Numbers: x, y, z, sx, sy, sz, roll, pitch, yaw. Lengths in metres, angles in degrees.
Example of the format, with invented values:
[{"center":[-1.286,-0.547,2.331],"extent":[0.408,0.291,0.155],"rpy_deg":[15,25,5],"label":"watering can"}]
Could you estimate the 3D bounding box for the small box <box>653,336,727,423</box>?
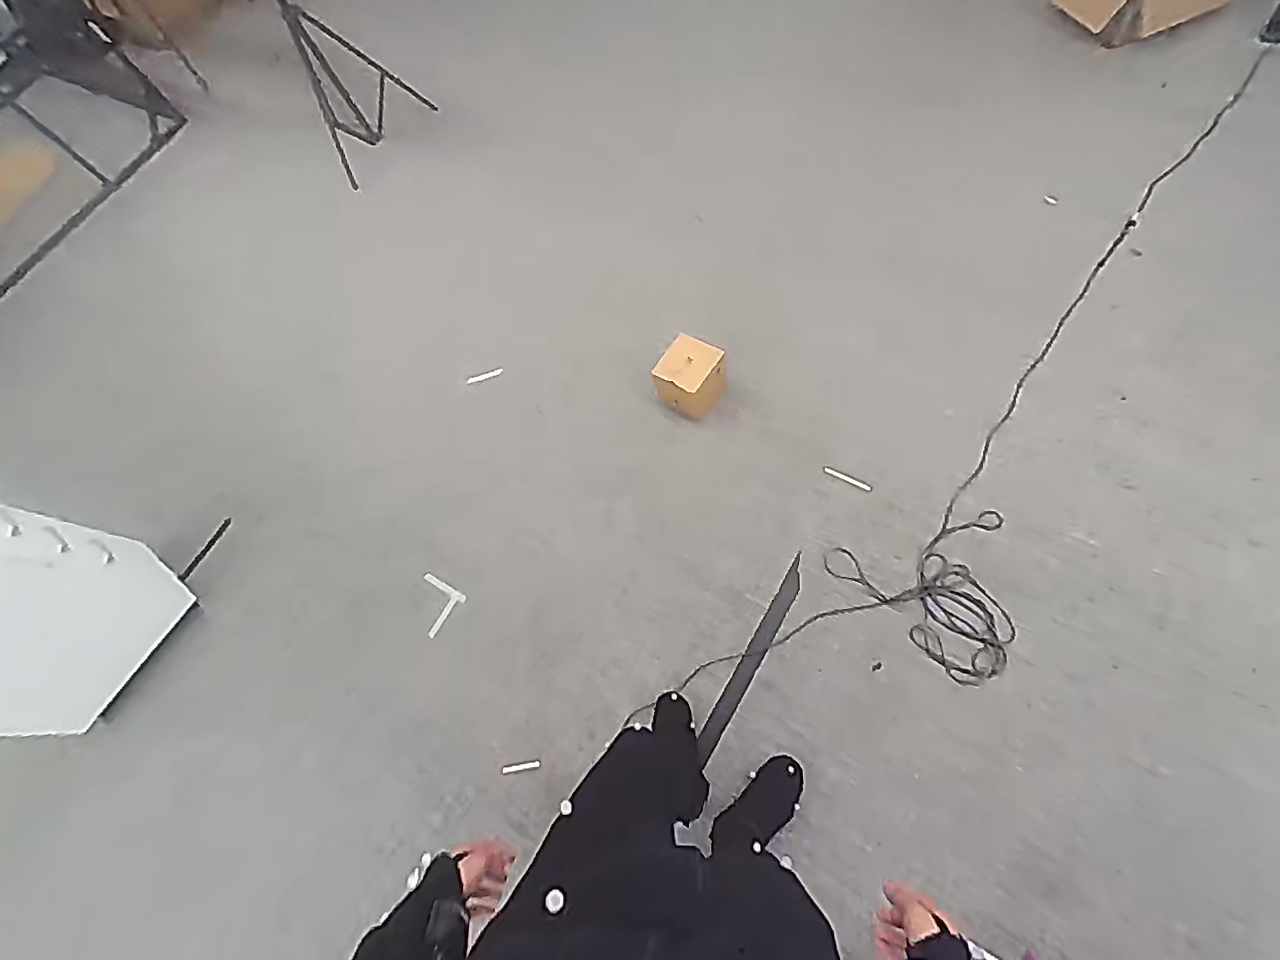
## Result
[{"center":[0.165,-0.318,1.732],"extent":[0.168,0.176,0.179],"rpy_deg":[31,77,24],"label":"small box"}]
